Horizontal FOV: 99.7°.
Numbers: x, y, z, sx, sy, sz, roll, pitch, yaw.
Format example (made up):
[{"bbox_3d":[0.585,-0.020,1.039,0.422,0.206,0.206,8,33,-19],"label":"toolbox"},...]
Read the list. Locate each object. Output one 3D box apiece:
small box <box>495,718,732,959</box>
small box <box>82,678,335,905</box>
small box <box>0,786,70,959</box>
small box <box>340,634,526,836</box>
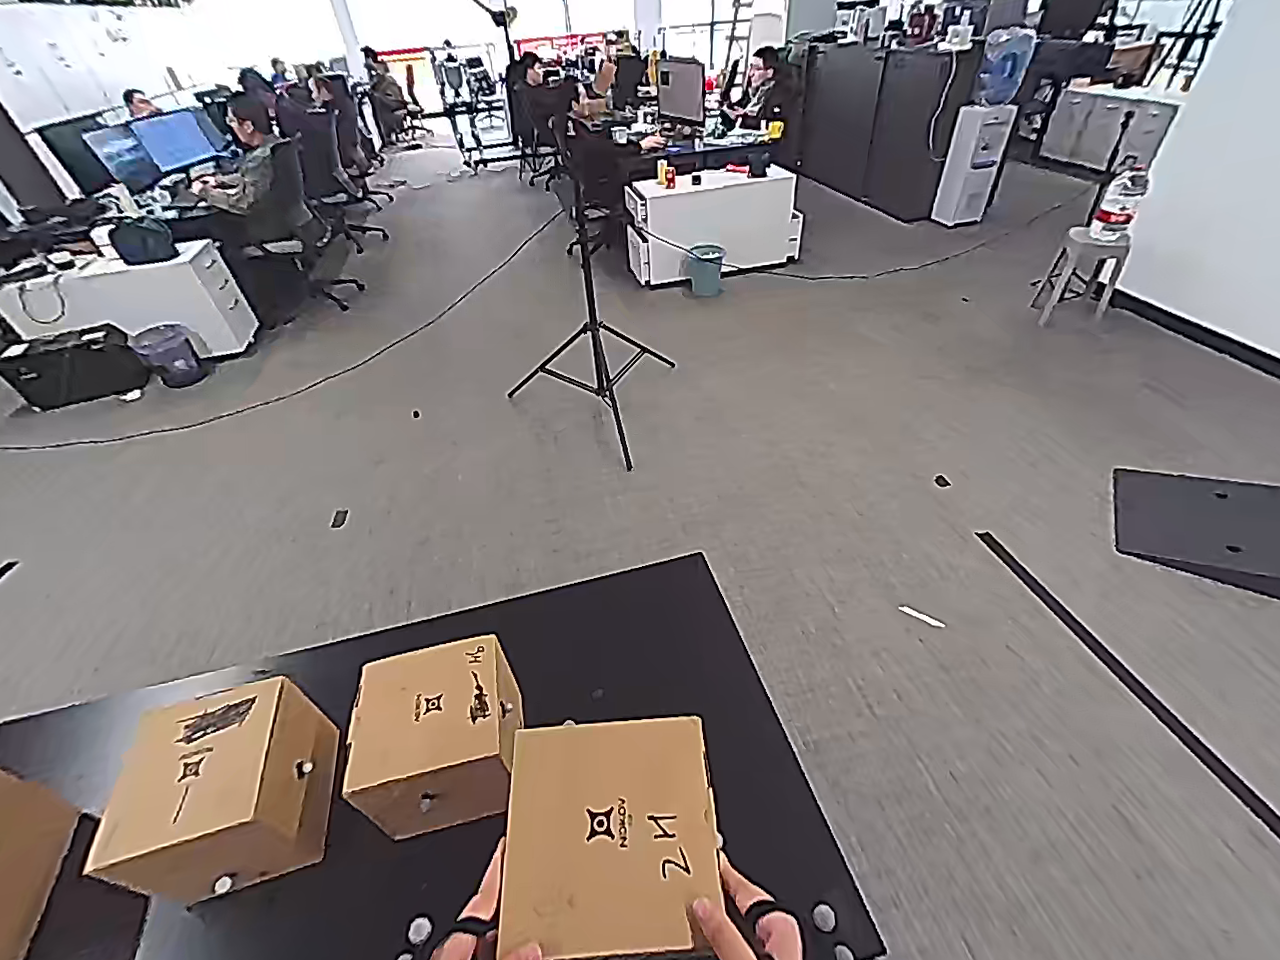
[{"bbox_3d":[-0.020,0.338,0.501,0.179,0.176,0.168,-3,48,-1],"label":"small box"},{"bbox_3d":[-0.507,0.385,0.674,0.168,0.176,0.179,-13,43,-10],"label":"small box"},{"bbox_3d":[-0.823,0.467,0.612,0.168,0.176,0.179,-14,42,-13],"label":"small box"},{"bbox_3d":[-0.254,0.335,0.709,0.179,0.176,0.168,-12,42,-7],"label":"small box"}]
